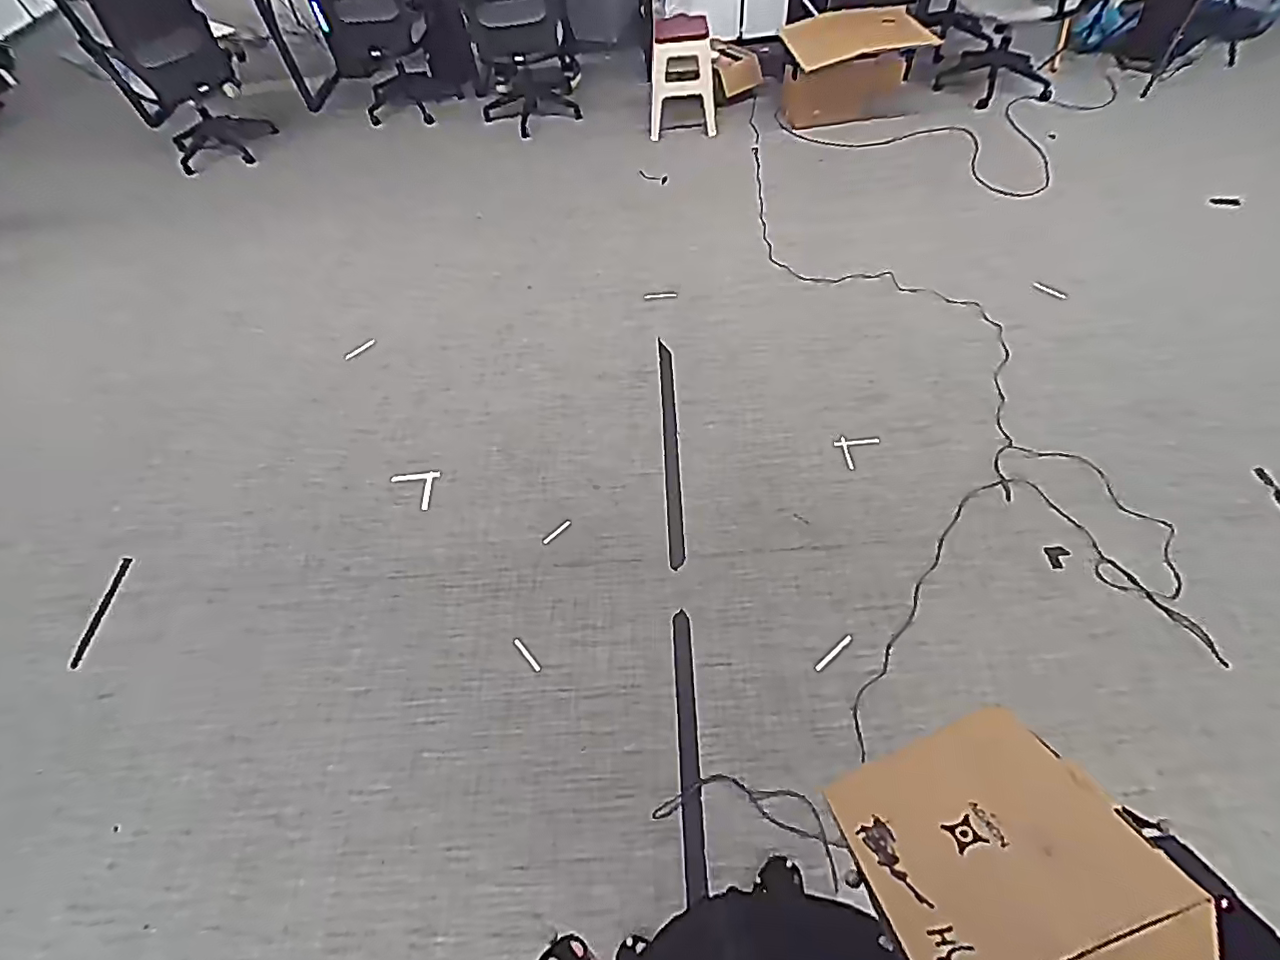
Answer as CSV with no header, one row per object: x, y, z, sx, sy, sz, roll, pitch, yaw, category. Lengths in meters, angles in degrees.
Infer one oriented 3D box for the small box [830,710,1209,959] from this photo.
0.286,0.331,0.430,0.179,0.176,0.168,-25,19,1,small box
